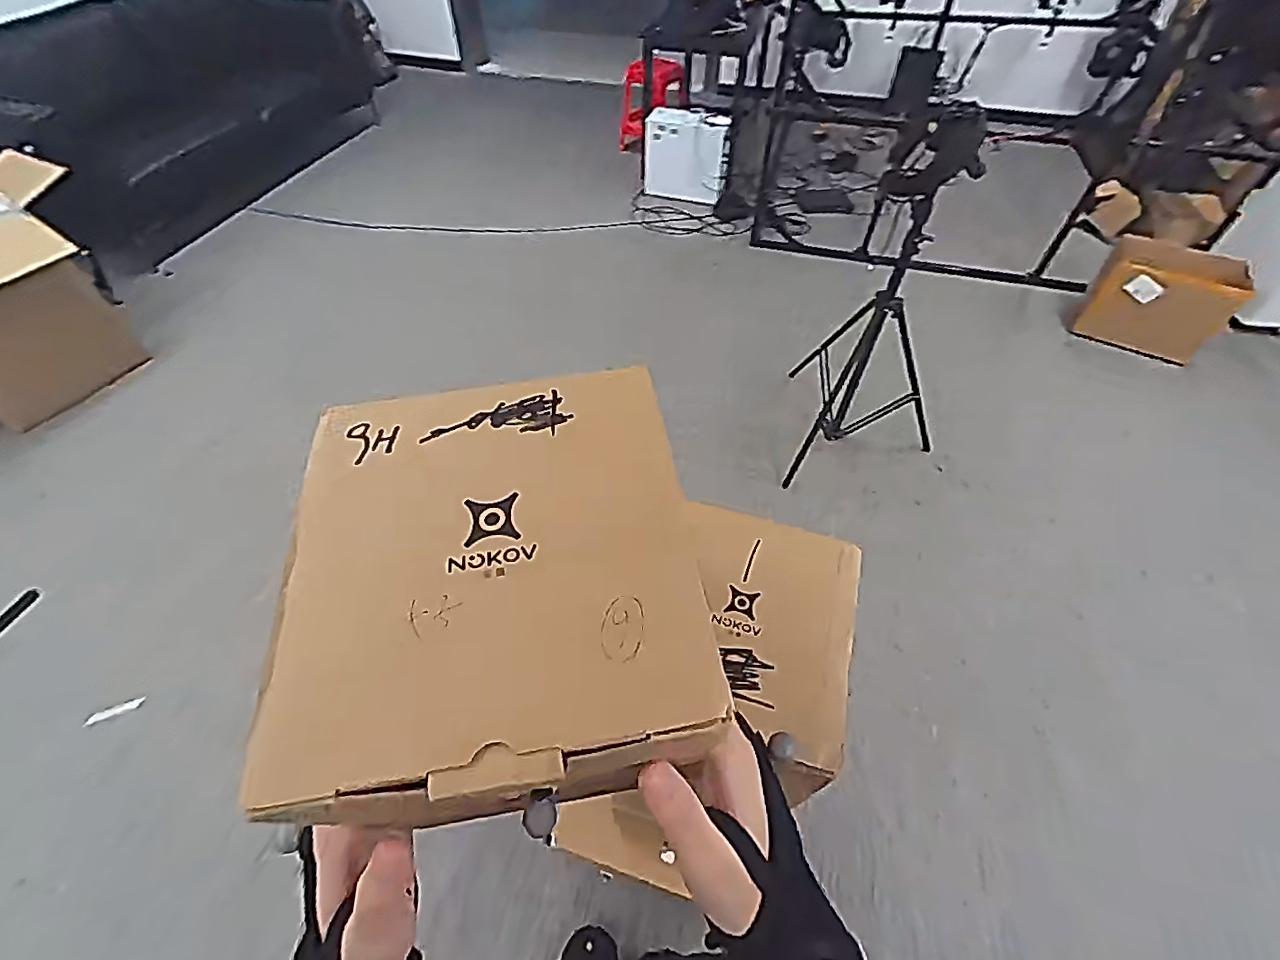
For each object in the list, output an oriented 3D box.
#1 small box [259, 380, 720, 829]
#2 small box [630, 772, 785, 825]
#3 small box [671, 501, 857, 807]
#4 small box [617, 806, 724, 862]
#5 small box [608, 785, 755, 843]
[{"bbox_3d":[-0.061,0.075,0.299,0.168,0.176,0.179,-9,57,-5],"label":"small box"},{"bbox_3d":[0.066,0.254,0.589,0.179,0.176,0.168,15,54,12],"label":"small box"},{"bbox_3d":[0.069,0.151,0.461,0.168,0.176,0.179,15,52,12],"label":"small box"},{"bbox_3d":[0.066,0.565,0.969,0.179,0.176,0.168,12,53,8],"label":"small box"},{"bbox_3d":[0.066,0.356,0.715,0.179,0.176,0.168,15,53,11],"label":"small box"}]
